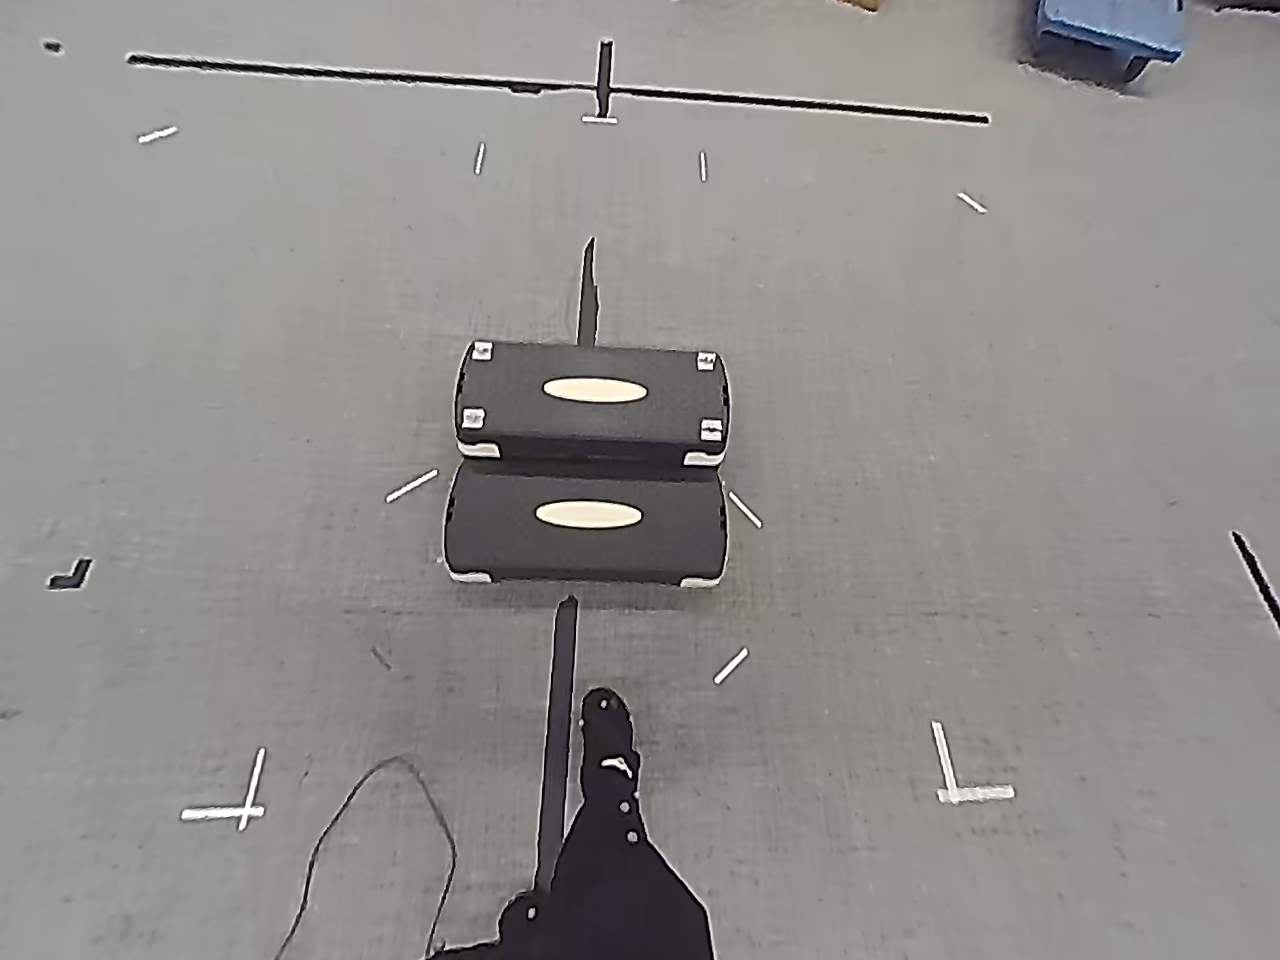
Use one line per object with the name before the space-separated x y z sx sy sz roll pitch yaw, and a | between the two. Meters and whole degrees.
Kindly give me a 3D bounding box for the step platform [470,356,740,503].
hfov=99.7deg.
step platform | -0.085 -0.132 1.413 0.684 0.204 0.286 6 63 -2
